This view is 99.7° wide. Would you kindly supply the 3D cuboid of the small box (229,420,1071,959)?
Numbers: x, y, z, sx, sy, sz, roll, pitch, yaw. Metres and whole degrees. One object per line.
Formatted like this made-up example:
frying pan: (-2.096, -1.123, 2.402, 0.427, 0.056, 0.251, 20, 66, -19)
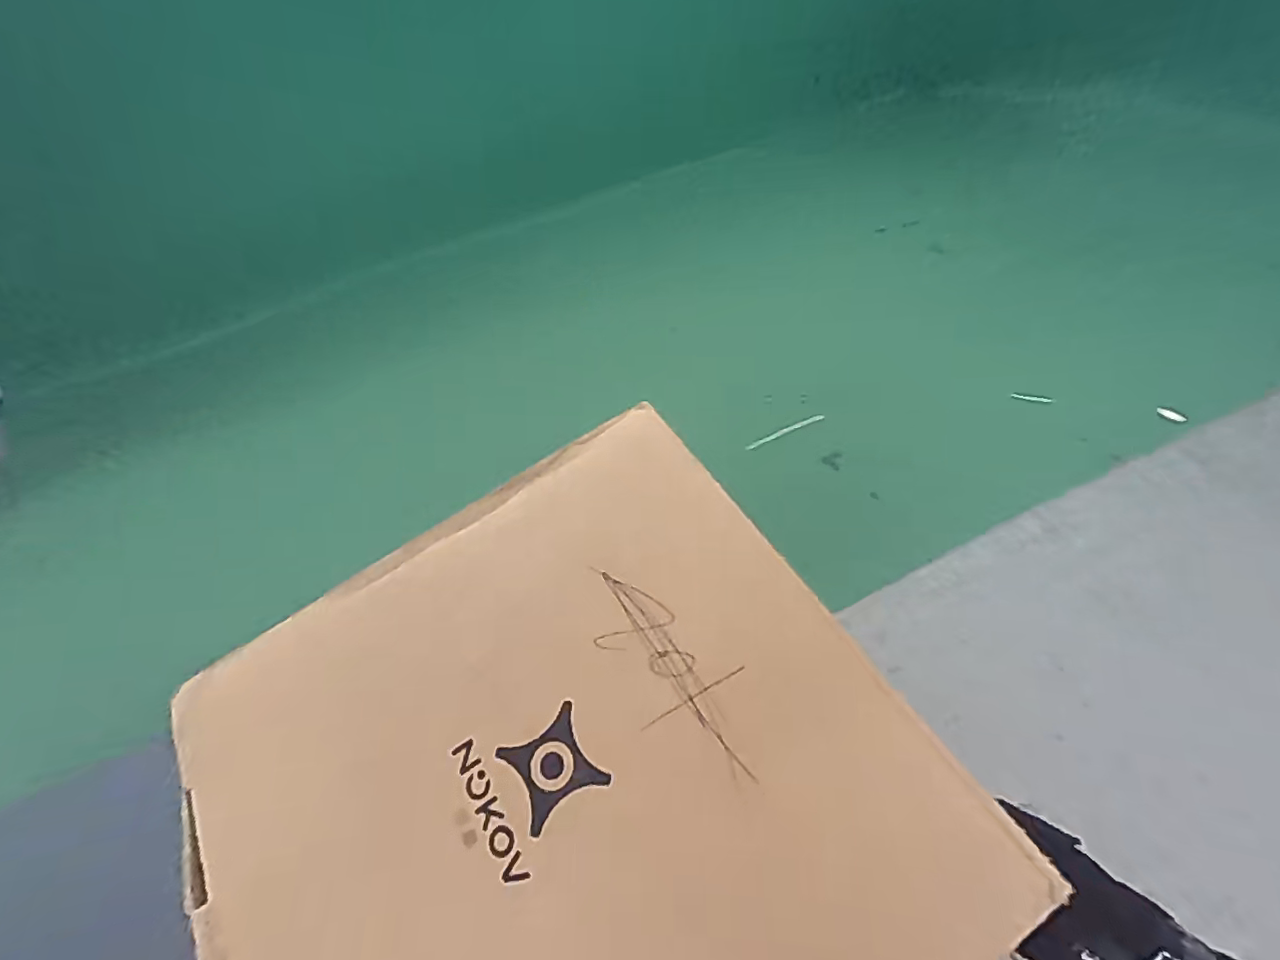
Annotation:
small box: (-0.004, 0.117, 0.214, 0.179, 0.176, 0.168, -32, 62, -10)
